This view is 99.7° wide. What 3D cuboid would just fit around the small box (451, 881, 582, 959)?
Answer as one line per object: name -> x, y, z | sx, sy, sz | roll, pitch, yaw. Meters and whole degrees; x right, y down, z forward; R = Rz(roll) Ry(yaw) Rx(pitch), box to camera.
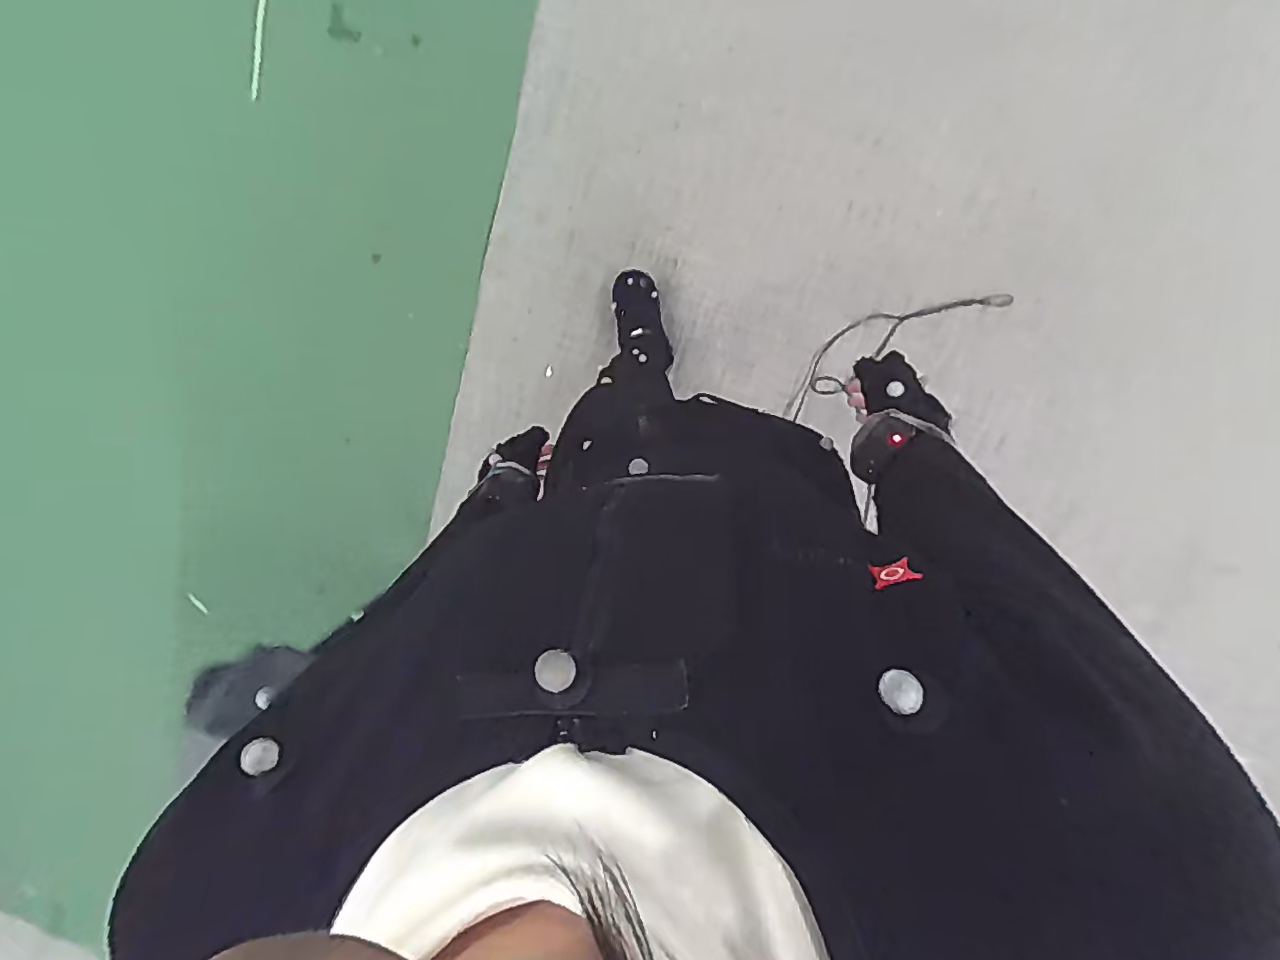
small box -> -0.207, 0.779, 0.847 | 0.179, 0.176, 0.168 | 16, 108, 2
